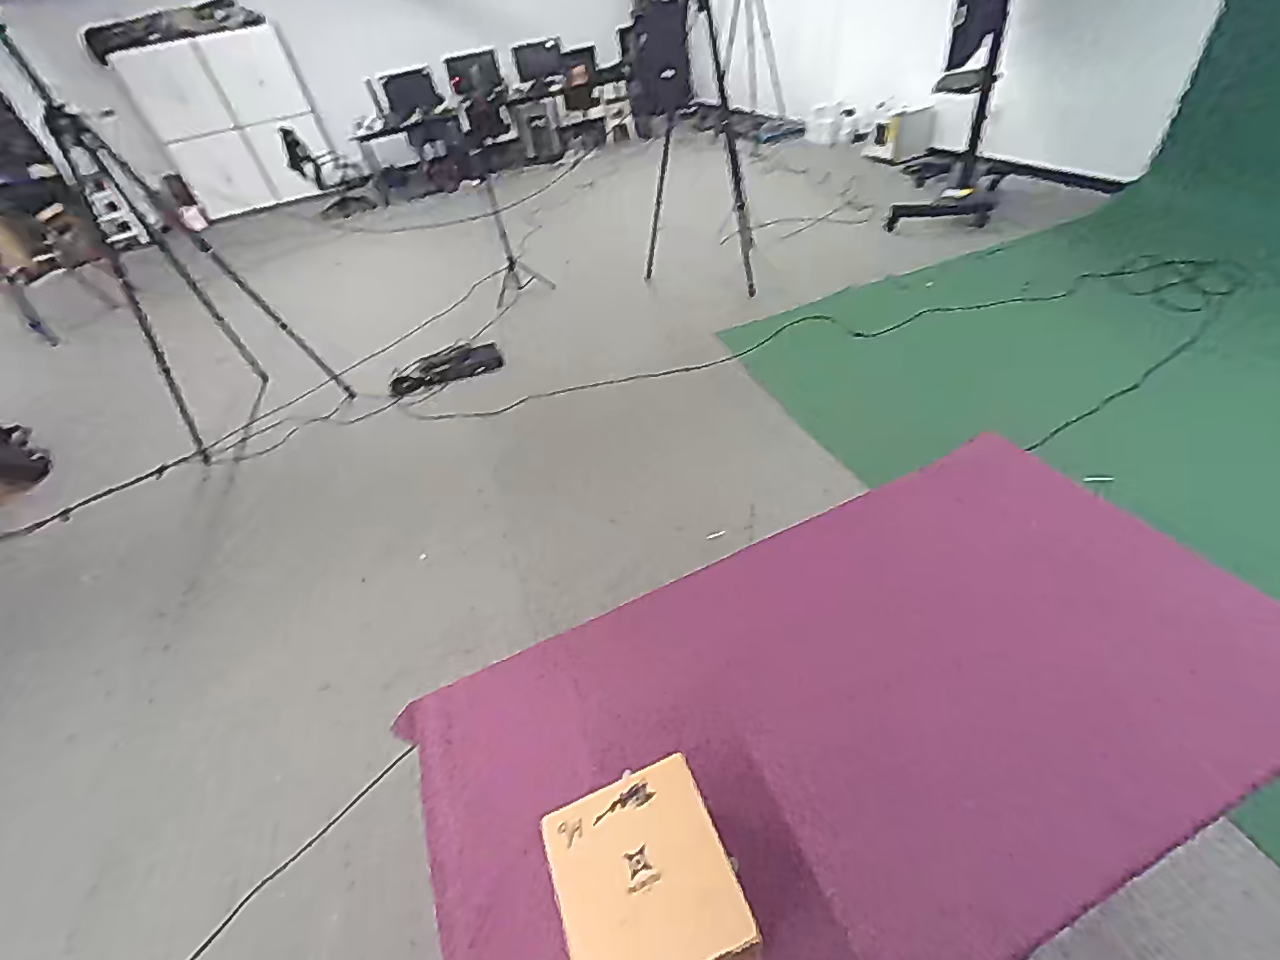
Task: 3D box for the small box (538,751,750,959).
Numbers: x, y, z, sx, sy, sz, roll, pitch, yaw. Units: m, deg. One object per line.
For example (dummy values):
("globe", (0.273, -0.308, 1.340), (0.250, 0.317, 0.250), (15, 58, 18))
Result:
("small box", (0.007, 0.435, 0.581), (0.168, 0.176, 0.179), (-19, 44, -10))
